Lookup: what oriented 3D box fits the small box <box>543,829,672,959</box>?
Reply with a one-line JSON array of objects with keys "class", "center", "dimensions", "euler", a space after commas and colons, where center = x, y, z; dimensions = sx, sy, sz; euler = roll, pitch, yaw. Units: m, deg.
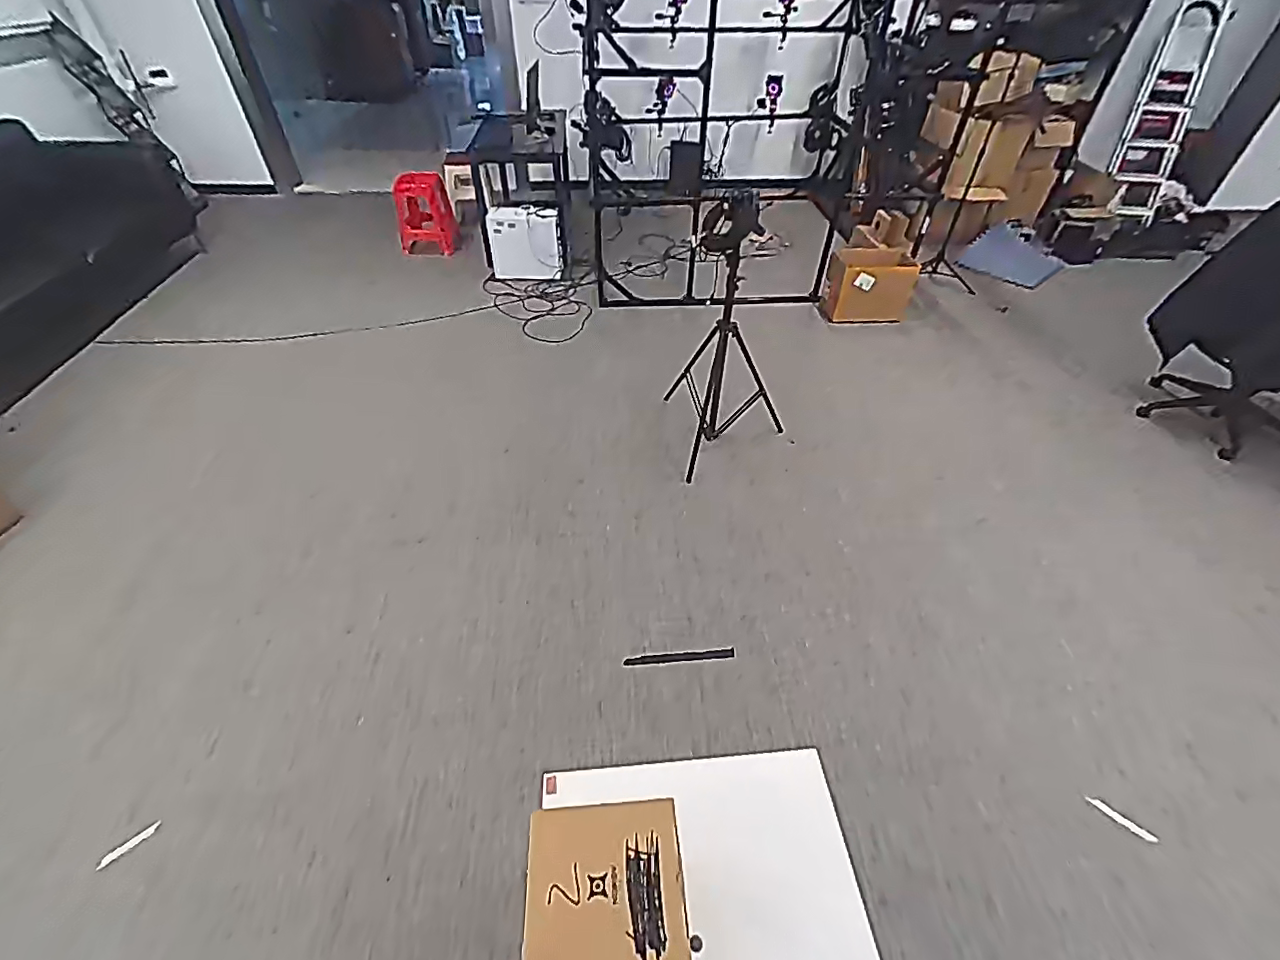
[{"class": "small box", "center": [-0.043, 0.622, 0.767], "dimensions": [0.168, 0.176, 0.179], "euler": [-2, 44, -4]}]
